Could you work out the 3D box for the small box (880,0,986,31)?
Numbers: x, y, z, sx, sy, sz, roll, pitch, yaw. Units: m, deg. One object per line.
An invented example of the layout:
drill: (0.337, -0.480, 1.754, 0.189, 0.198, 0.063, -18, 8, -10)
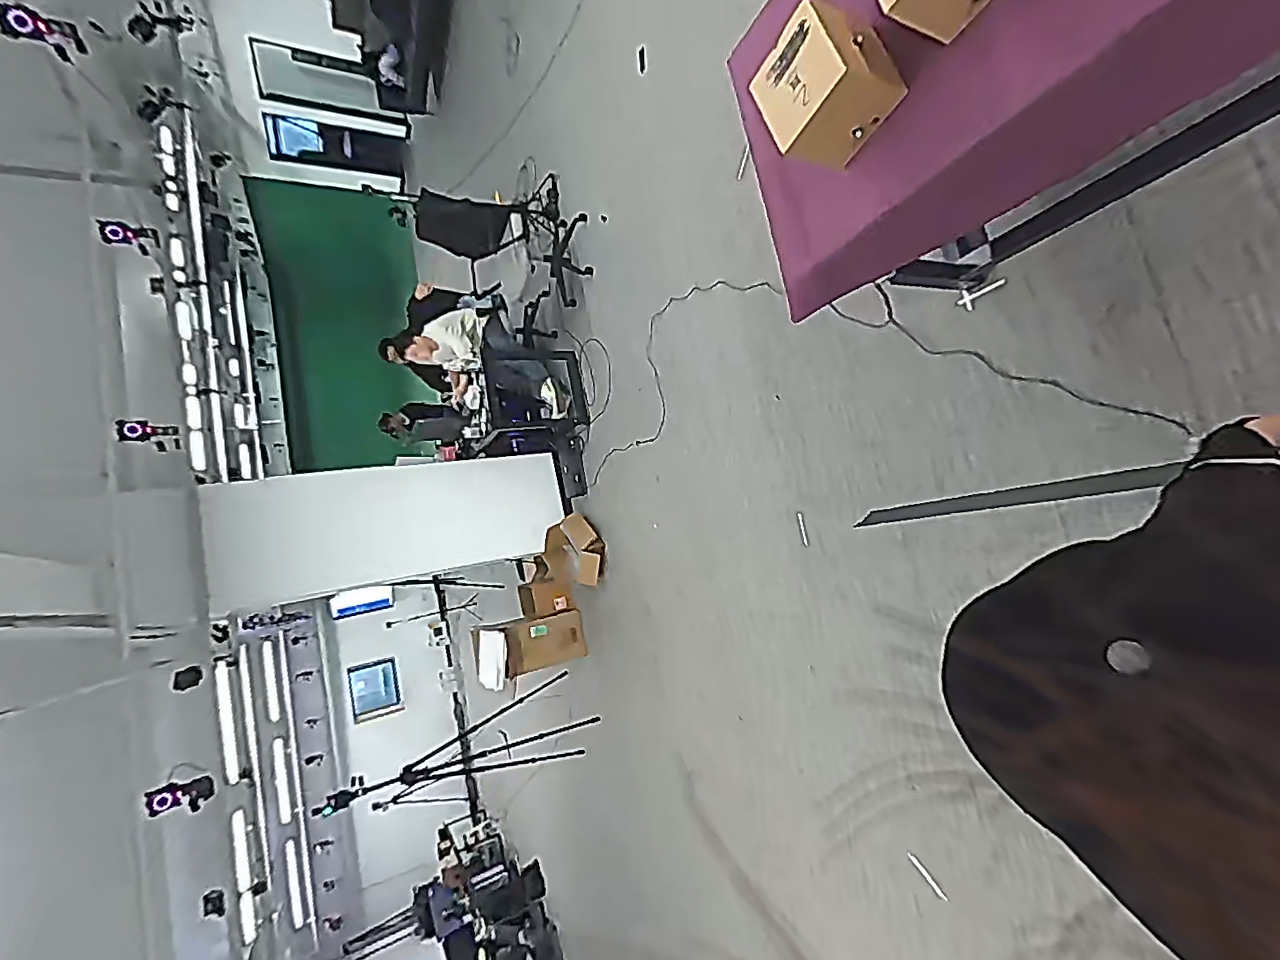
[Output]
small box: (0.452, -0.815, 0.793, 0.168, 0.176, 0.179, -31, 71, 59)
